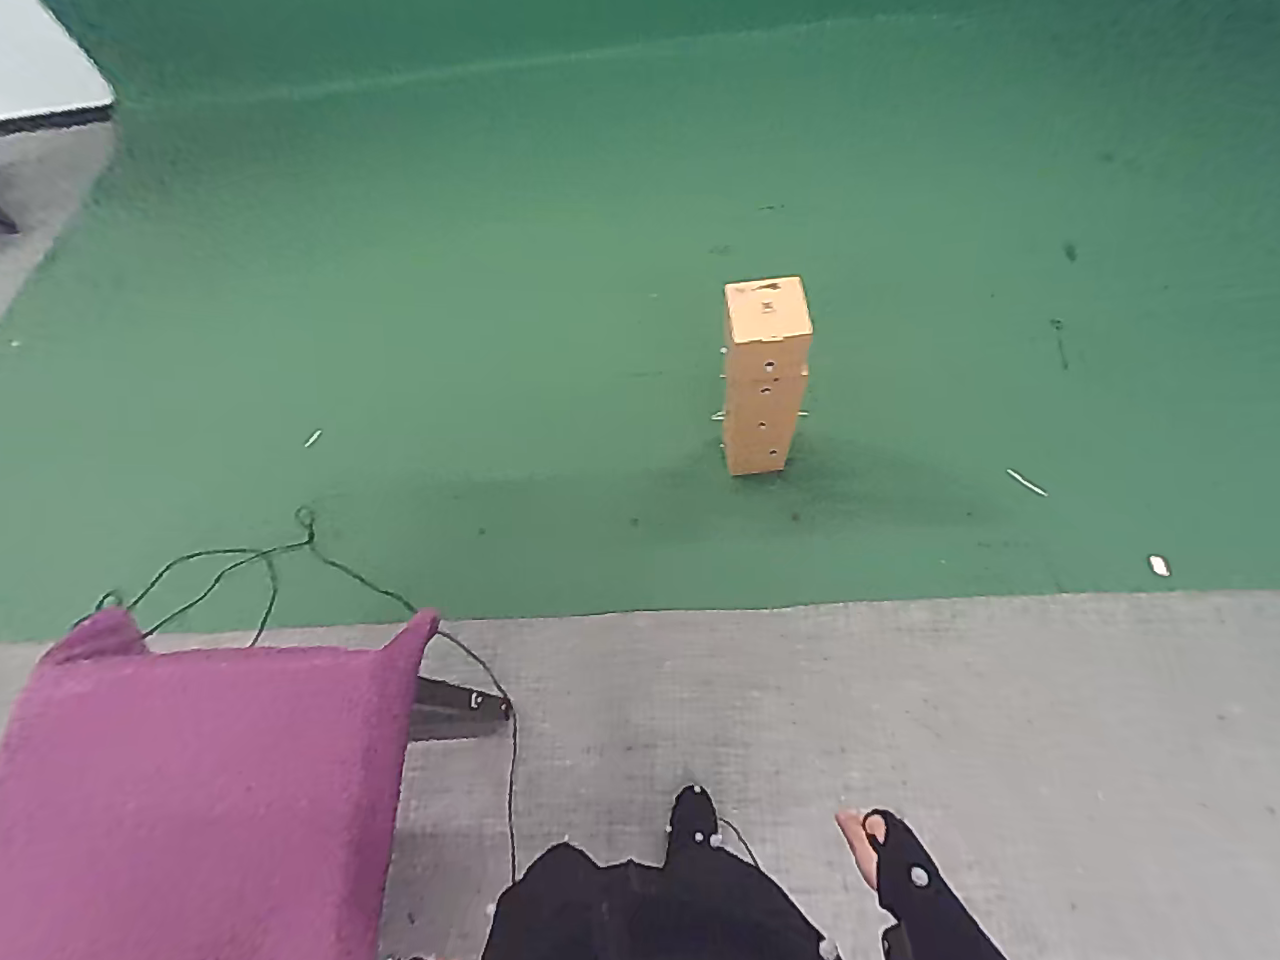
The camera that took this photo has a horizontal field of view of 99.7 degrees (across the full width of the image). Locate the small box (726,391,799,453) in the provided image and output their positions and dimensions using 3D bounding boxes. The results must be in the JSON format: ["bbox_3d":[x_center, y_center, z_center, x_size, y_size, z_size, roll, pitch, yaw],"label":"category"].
[{"bbox_3d":[0.346,-0.192,1.557,0.179,0.176,0.168,-6,62,4],"label":"small box"}]

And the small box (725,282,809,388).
[{"bbox_3d":[0.289,-0.329,1.265,0.168,0.176,0.179,-5,63,5],"label":"small box"}]

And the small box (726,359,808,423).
[{"bbox_3d":[0.322,-0.265,1.413,0.179,0.176,0.168,-8,62,3],"label":"small box"}]

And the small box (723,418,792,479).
[{"bbox_3d":[0.362,-0.117,1.700,0.179,0.176,0.168,-7,62,3],"label":"small box"}]
